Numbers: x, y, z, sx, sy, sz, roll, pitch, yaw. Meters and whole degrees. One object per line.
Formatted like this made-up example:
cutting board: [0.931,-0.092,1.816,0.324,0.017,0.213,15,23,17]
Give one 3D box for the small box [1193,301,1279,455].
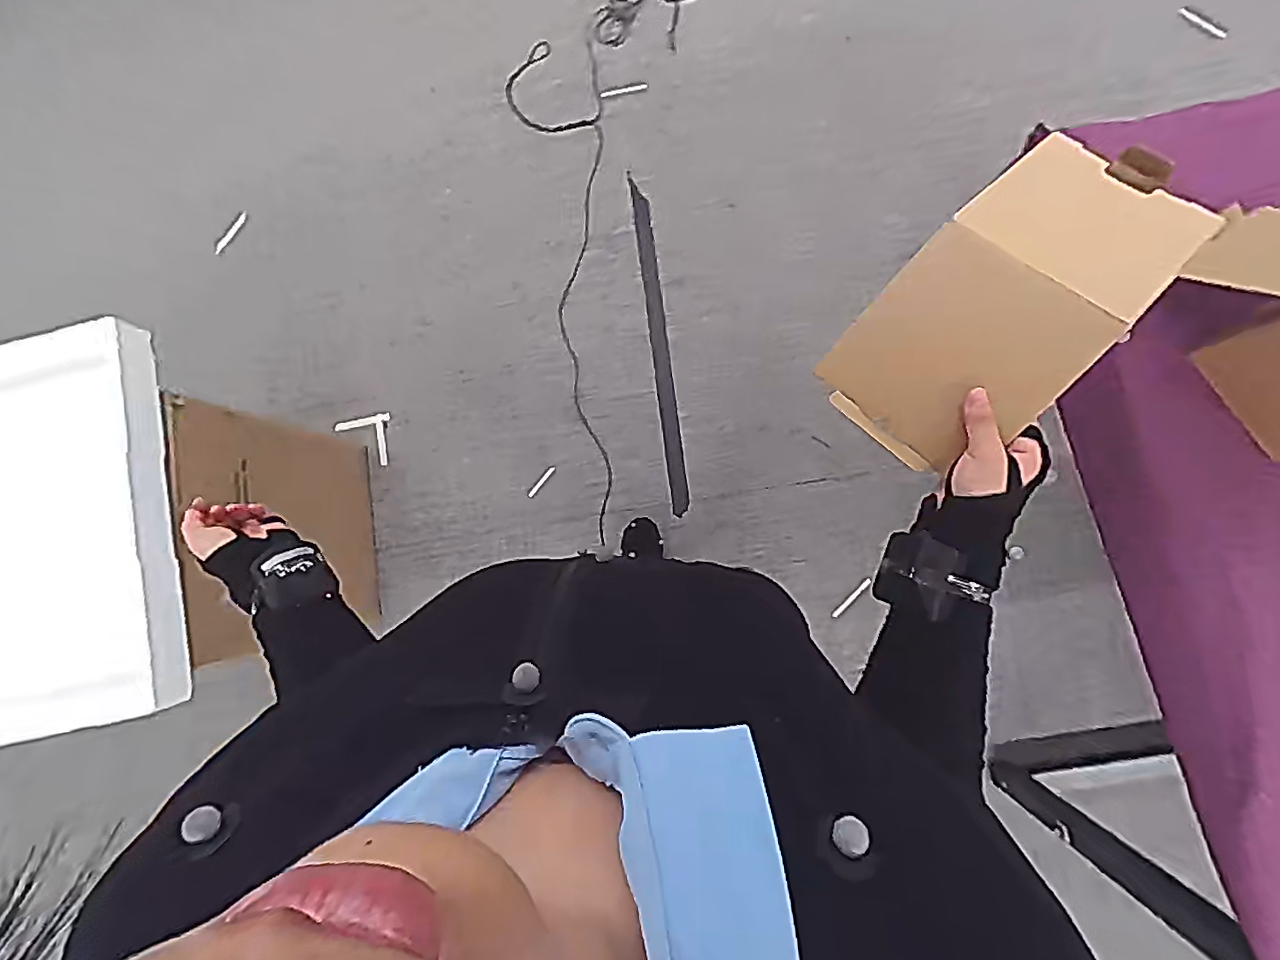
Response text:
small box: [0.834,-0.146,0.632,0.168,0.176,0.179,-31,82,2]
